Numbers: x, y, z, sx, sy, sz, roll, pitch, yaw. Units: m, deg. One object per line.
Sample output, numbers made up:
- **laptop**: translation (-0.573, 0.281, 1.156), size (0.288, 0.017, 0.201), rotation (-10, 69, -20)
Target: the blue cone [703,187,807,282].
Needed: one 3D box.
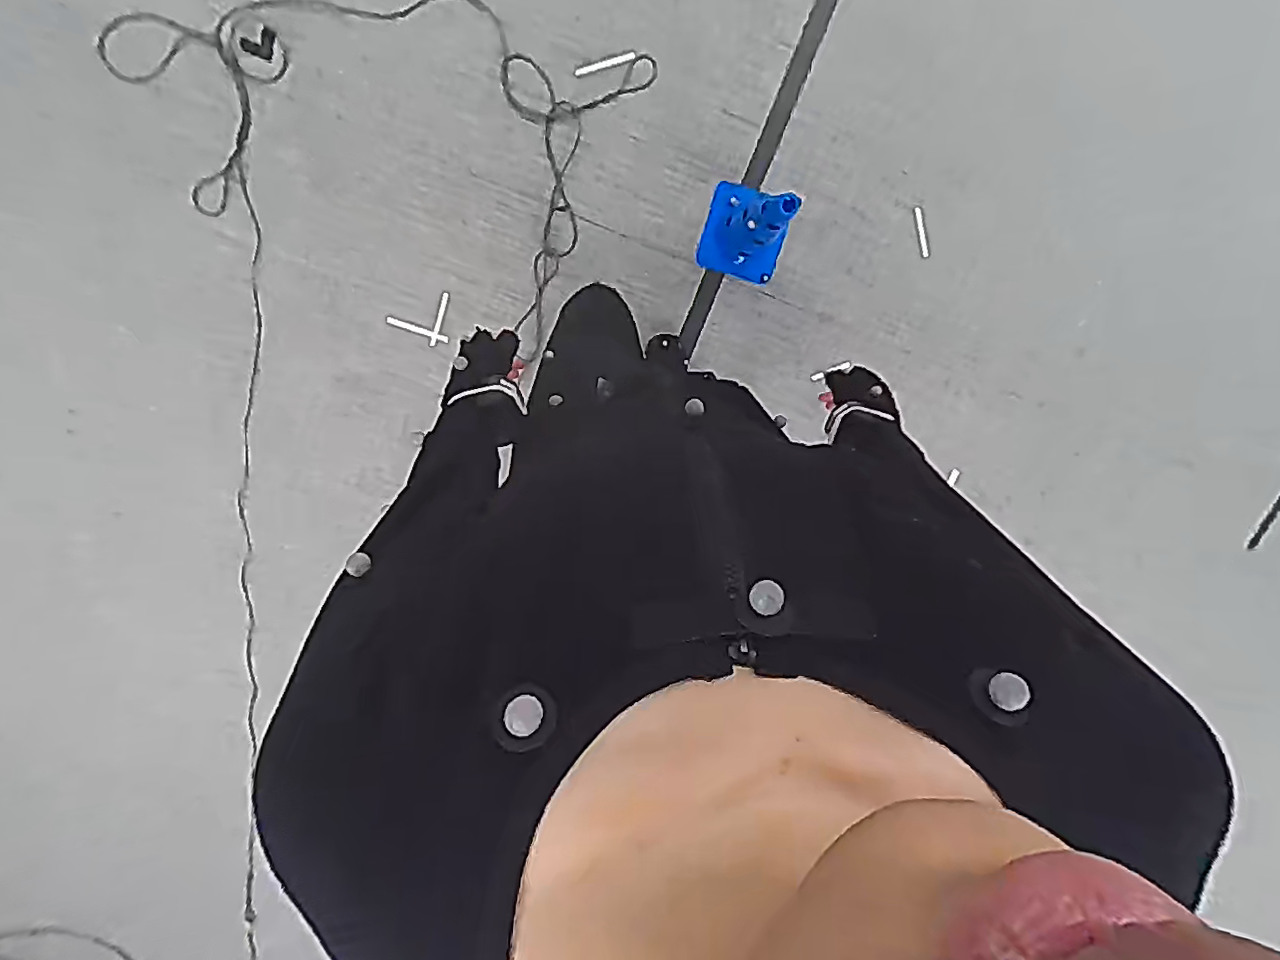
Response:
- **blue cone**: translation (0.270, -0.559, 1.176), size (0.192, 0.380, 0.193), rotation (16, 104, -9)
